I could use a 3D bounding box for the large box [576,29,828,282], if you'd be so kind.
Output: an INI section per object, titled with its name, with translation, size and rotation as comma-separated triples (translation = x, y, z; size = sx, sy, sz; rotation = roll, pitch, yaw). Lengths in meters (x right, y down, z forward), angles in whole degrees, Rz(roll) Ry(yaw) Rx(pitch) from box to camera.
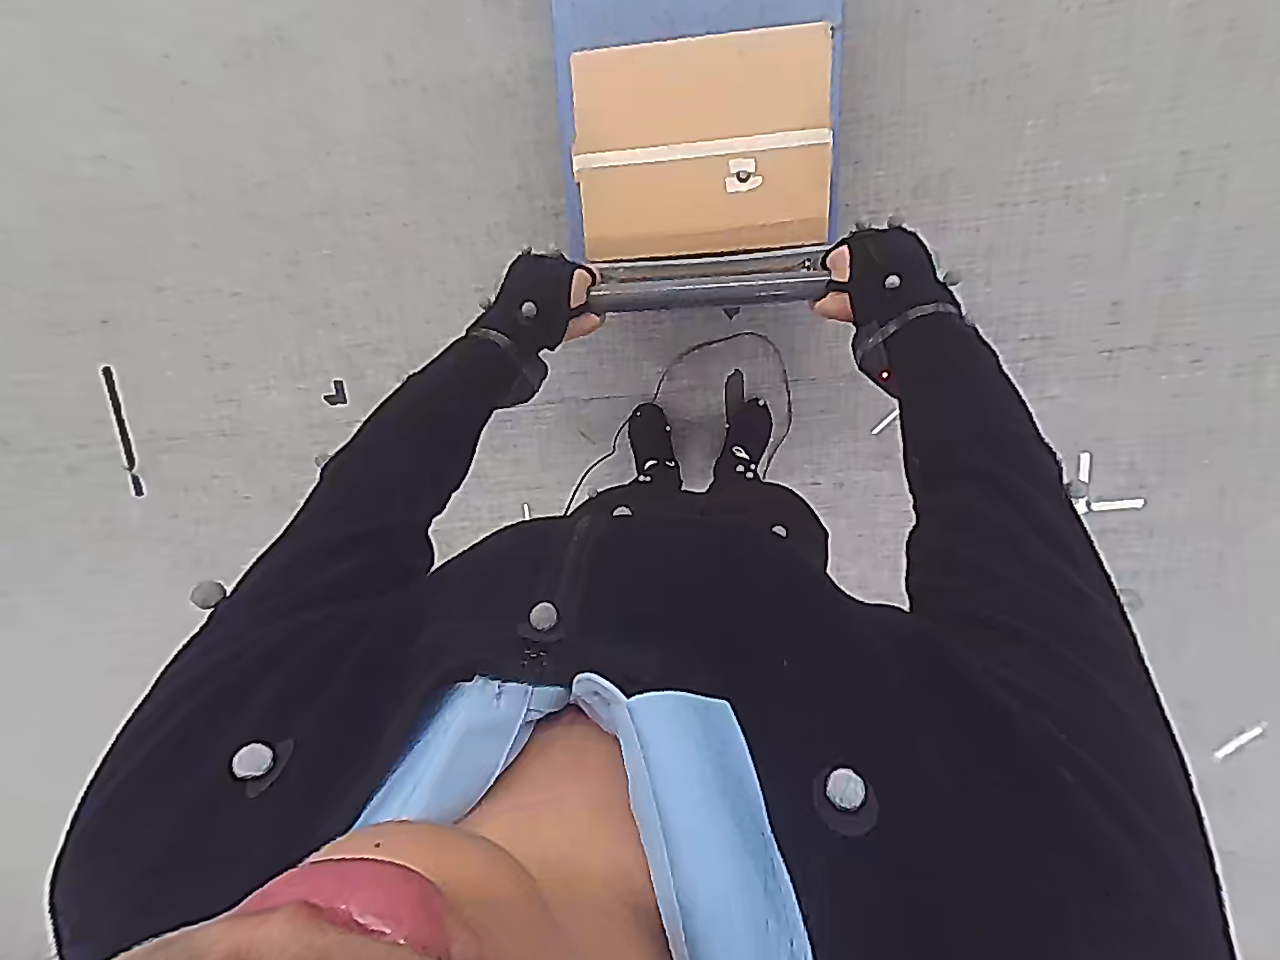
[large box]
translation = 0.114, -0.571, 1.030
size = 0.408, 0.320, 0.320
rotation = -2, 105, 6
